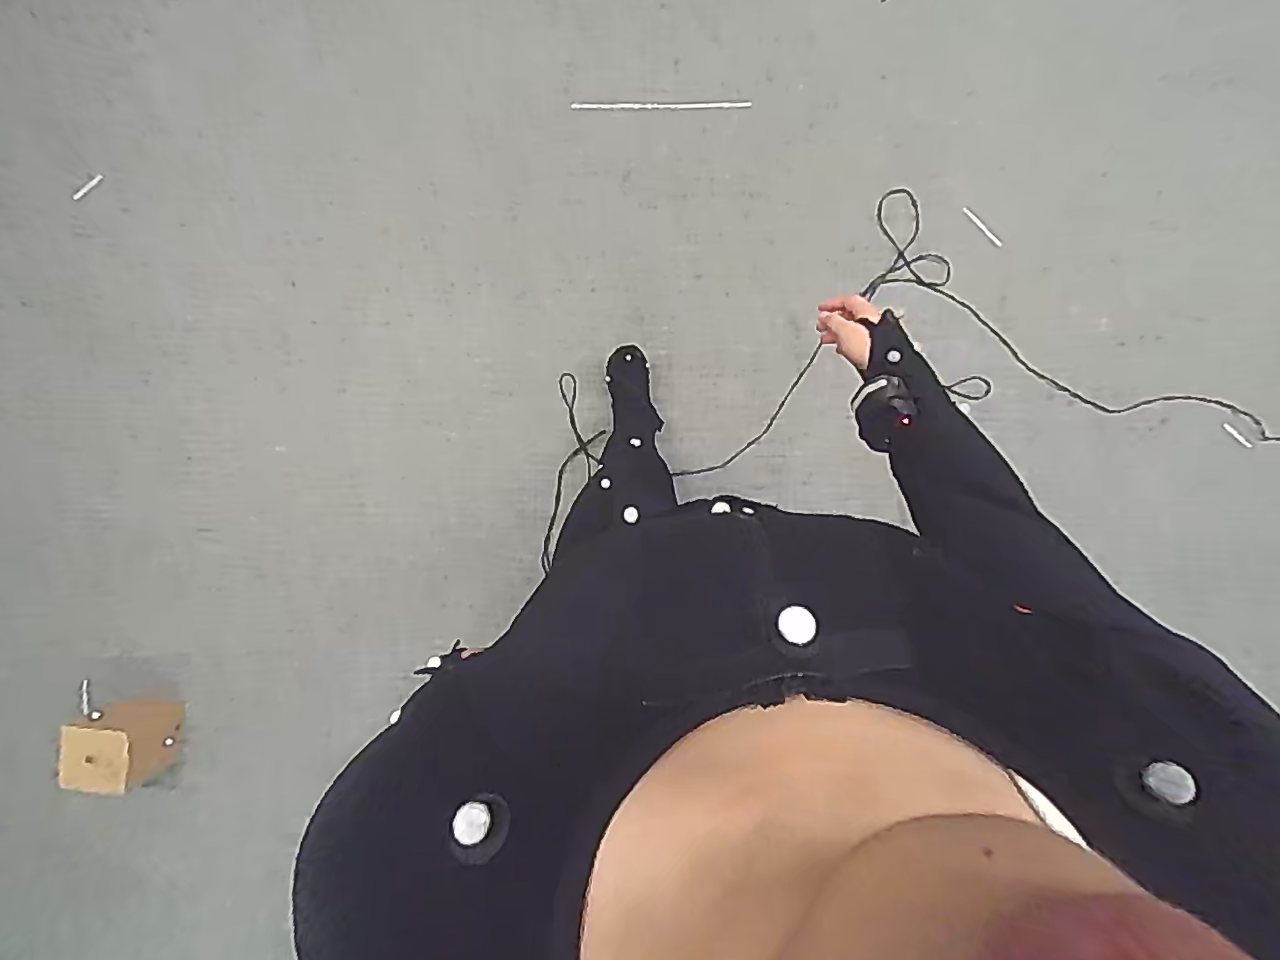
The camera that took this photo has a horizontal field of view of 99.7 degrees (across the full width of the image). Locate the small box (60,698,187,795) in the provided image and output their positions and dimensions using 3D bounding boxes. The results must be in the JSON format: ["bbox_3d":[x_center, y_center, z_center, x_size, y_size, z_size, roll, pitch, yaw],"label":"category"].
[{"bbox_3d":[-1.369,0.702,1.441,0.179,0.176,0.168,6,93,1],"label":"small box"}]
